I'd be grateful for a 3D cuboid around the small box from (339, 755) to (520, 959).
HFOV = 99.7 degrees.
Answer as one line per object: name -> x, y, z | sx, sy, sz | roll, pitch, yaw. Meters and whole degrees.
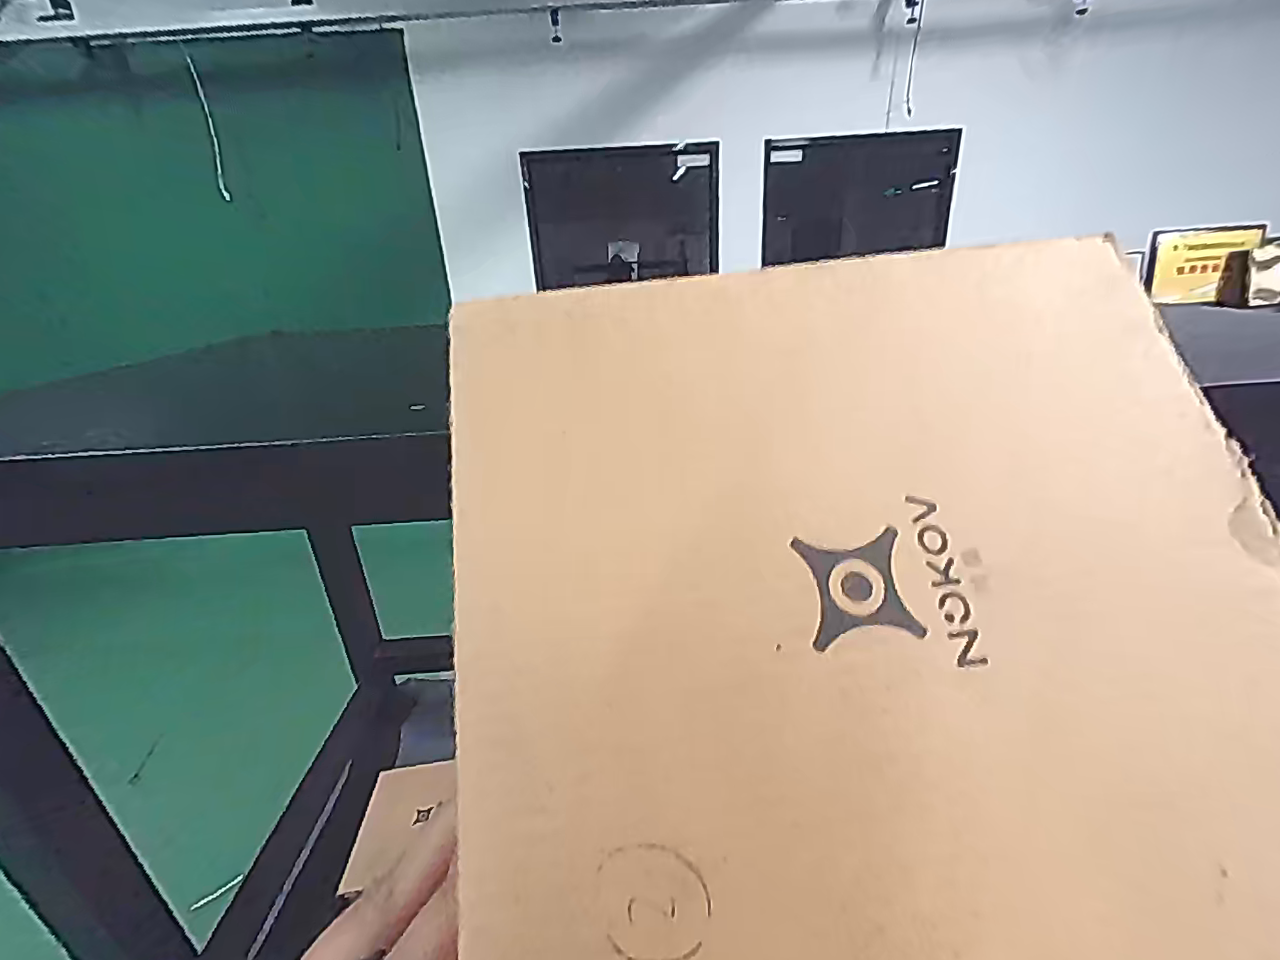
small box -> -0.269, 0.513, 0.737 | 0.179, 0.176, 0.168 | -5, 23, -5
